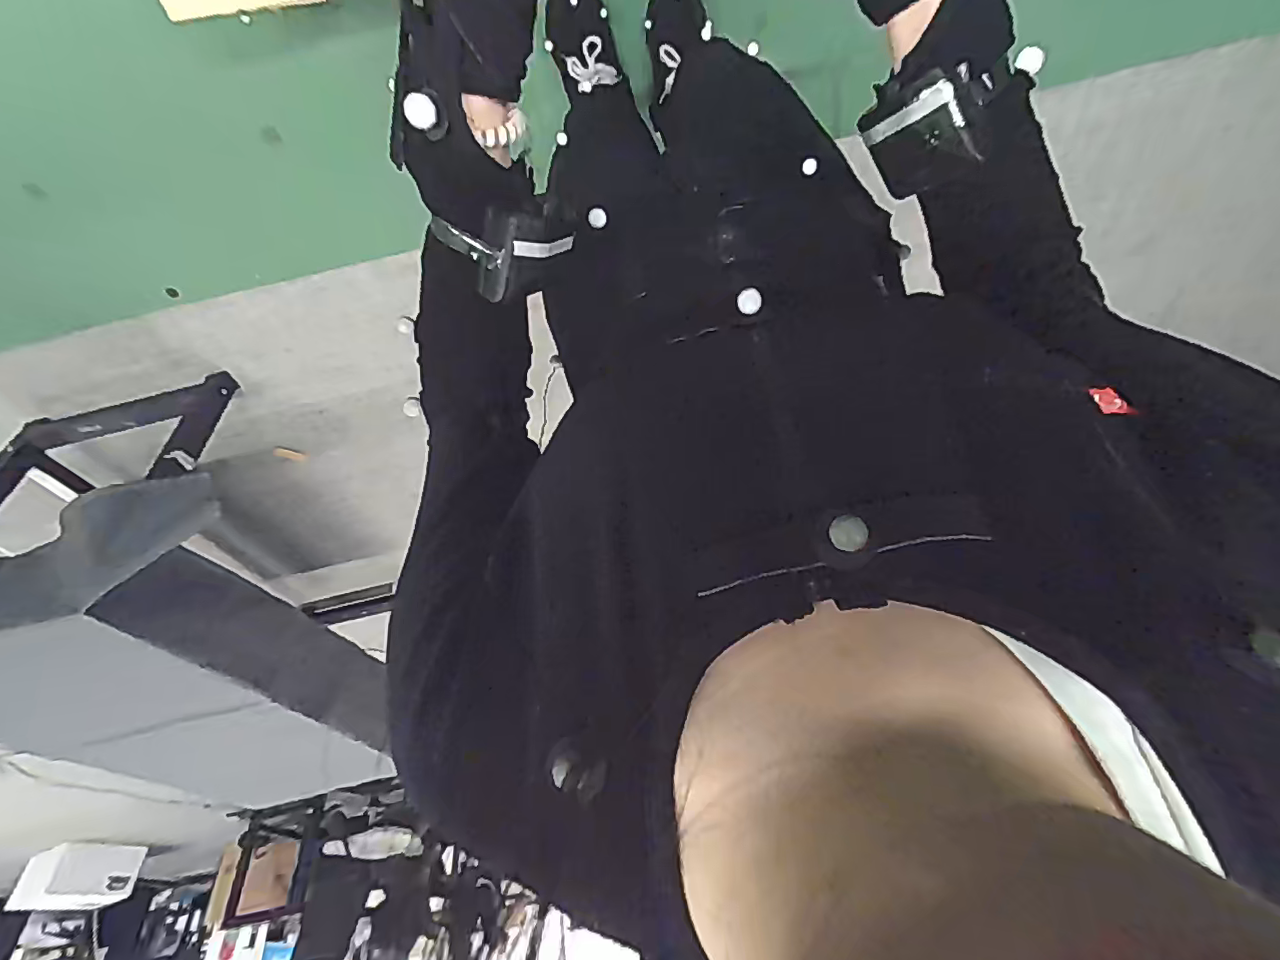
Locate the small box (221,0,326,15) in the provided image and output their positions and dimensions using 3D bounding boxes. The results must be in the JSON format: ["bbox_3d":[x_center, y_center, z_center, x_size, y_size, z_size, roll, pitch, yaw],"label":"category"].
[{"bbox_3d":[-0.580,-0.845,0.824,0.168,0.176,0.179,-9,138,-2],"label":"small box"}]

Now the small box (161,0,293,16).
[{"bbox_3d":[-0.549,-0.733,0.706,0.179,0.176,0.168,-10,138,-1],"label":"small box"}]

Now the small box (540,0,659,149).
[{"bbox_3d":[-0.082,-0.780,1.036,0.179,0.176,0.168,21,141,-11],"label":"small box"}]
